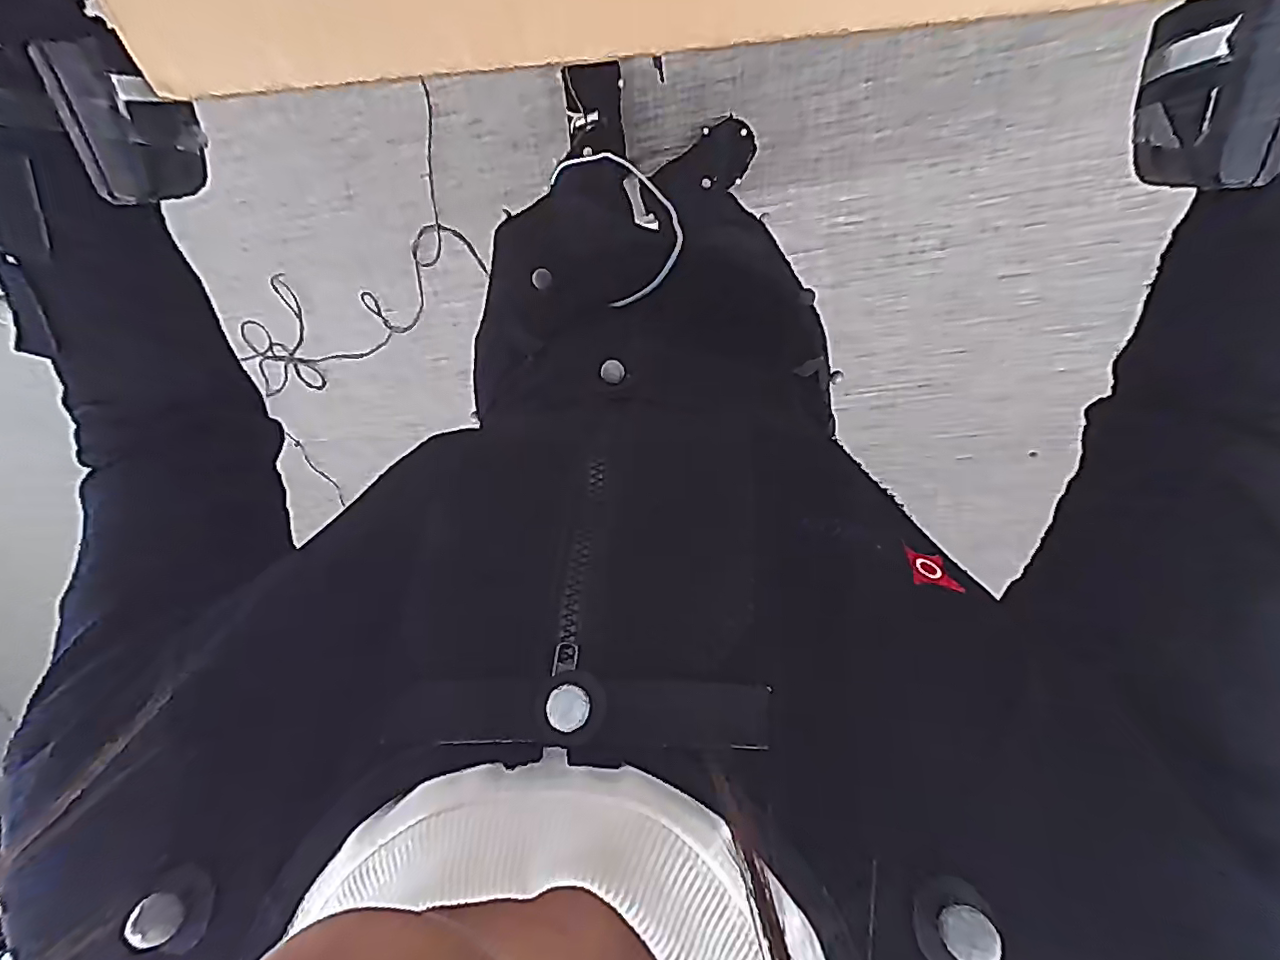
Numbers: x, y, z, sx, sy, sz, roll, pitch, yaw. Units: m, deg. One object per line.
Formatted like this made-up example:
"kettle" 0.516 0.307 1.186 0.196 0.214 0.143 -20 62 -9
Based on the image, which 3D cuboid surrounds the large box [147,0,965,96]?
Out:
"large box" -0.004 -0.388 0.224 0.408 0.320 0.320 -1 133 7
